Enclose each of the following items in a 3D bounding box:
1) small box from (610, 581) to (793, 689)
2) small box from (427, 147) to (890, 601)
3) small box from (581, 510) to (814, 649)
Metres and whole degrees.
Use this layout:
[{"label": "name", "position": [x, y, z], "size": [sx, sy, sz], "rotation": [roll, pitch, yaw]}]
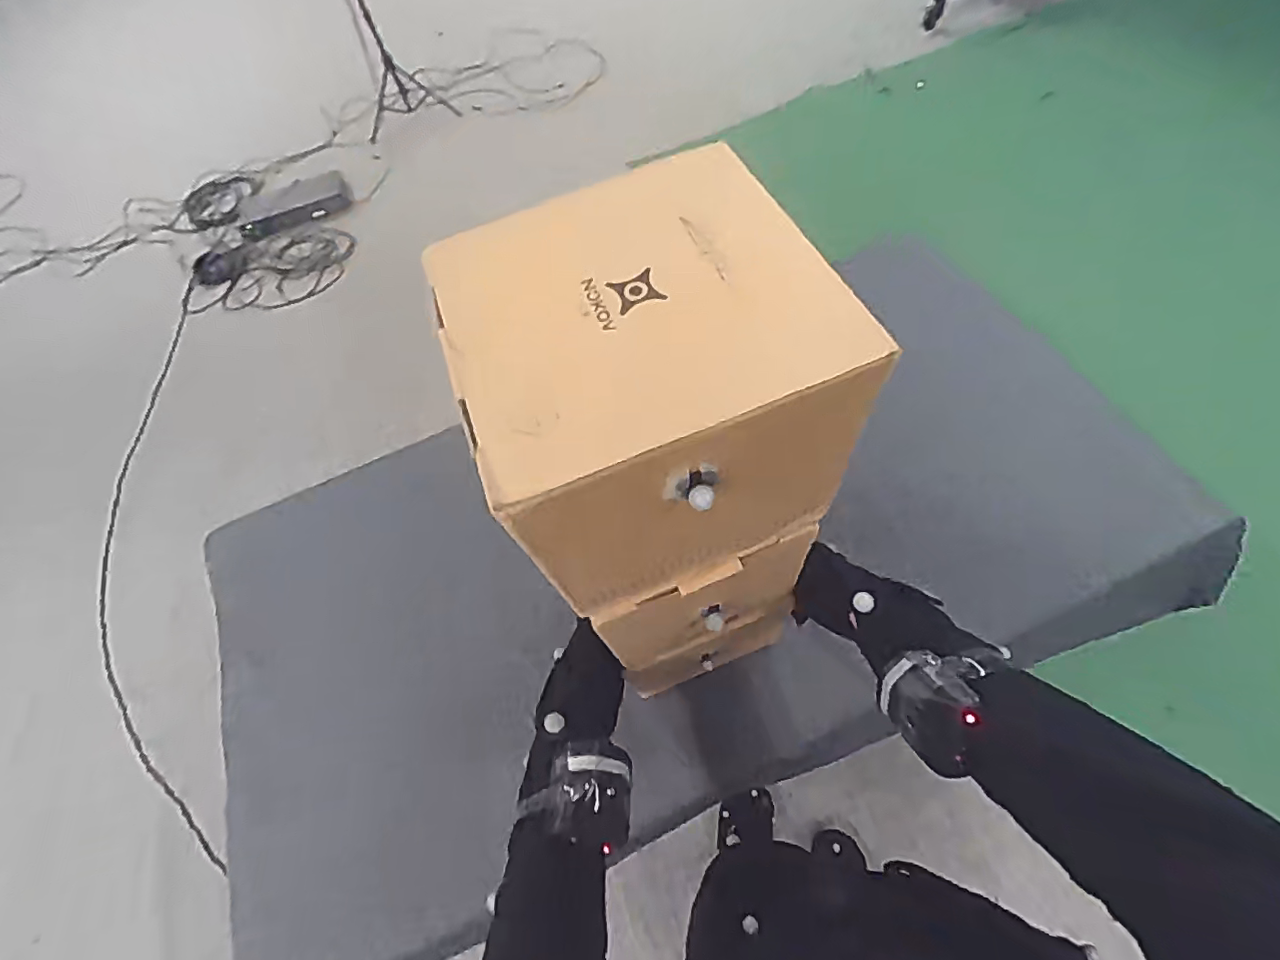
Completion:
[{"label": "small box", "position": [0.044, 0.113, 0.600], "size": [0.179, 0.176, 0.168], "rotation": [-22, 61, -4]}, {"label": "small box", "position": [0.005, -0.048, 0.320], "size": [0.179, 0.176, 0.168], "rotation": [-22, 62, -5]}, {"label": "small box", "position": [0.022, 0.030, 0.462], "size": [0.168, 0.176, 0.179], "rotation": [-23, 62, -5]}]
